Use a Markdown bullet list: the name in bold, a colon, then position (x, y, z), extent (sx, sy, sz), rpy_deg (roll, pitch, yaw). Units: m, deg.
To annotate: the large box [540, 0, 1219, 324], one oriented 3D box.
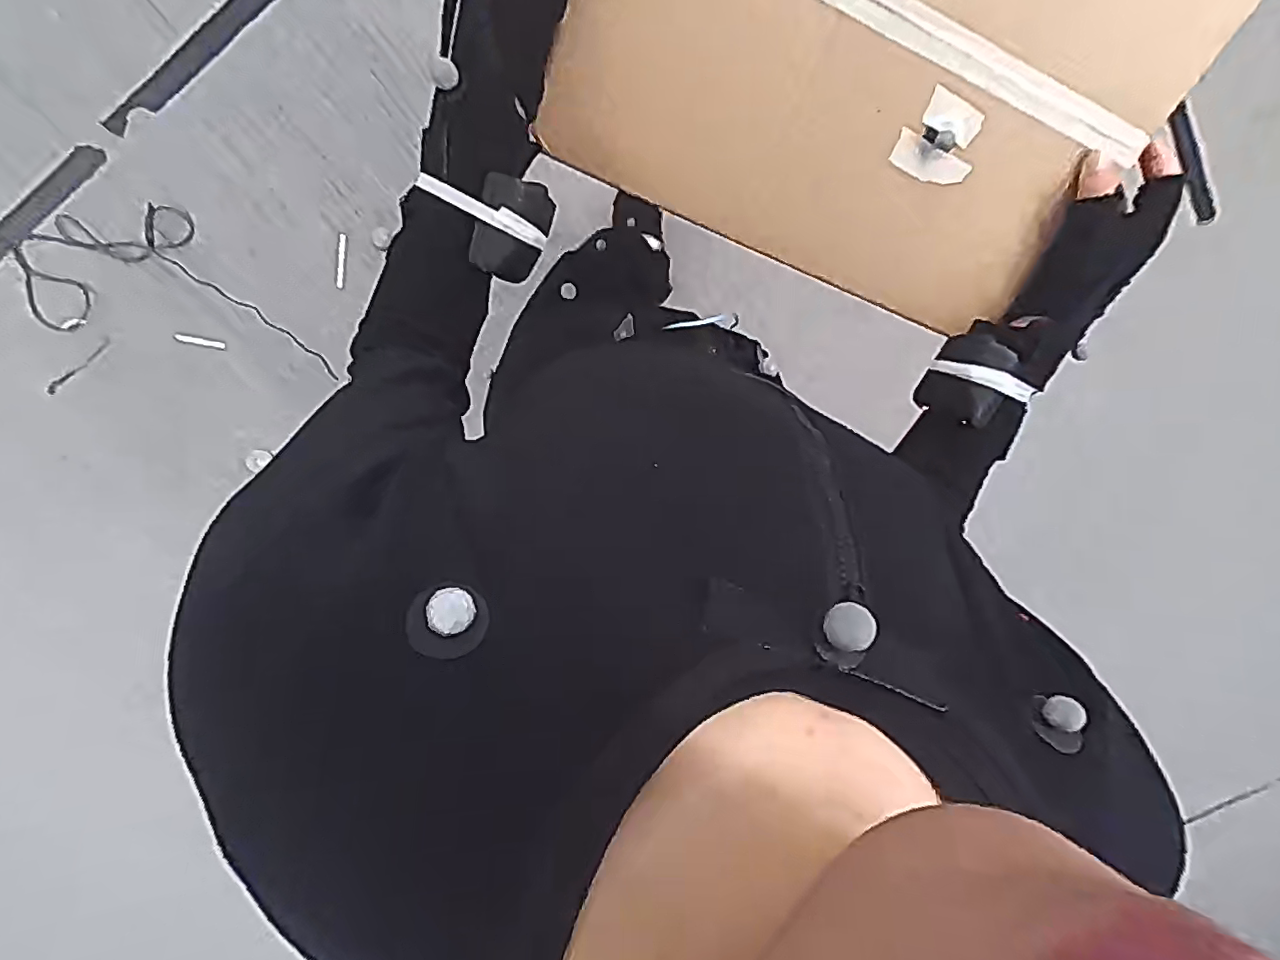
- **large box**: position (0.160, -0.395, 0.478), extent (0.408, 0.320, 0.320), rpy_deg (18, 125, -13)
